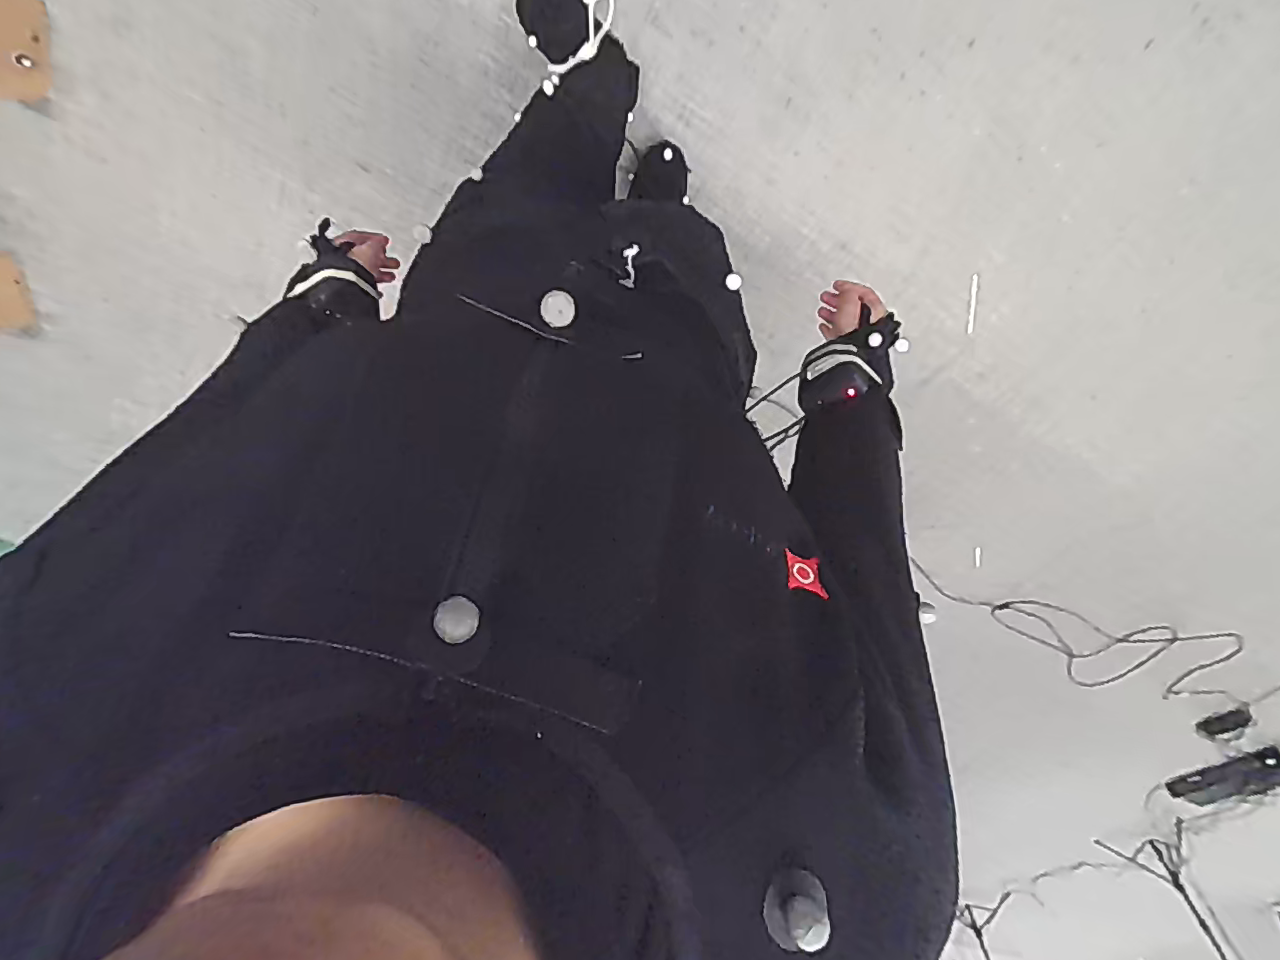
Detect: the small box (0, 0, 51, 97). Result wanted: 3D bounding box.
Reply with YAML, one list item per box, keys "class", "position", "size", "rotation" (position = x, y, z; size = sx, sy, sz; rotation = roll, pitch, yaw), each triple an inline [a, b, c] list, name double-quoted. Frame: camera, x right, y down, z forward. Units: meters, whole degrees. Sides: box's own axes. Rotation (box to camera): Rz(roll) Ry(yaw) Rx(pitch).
- class: "small box"
  position: [-1.172, -0.776, 0.913]
  size: [0.179, 0.176, 0.168]
  rotation: [24, 124, -17]
